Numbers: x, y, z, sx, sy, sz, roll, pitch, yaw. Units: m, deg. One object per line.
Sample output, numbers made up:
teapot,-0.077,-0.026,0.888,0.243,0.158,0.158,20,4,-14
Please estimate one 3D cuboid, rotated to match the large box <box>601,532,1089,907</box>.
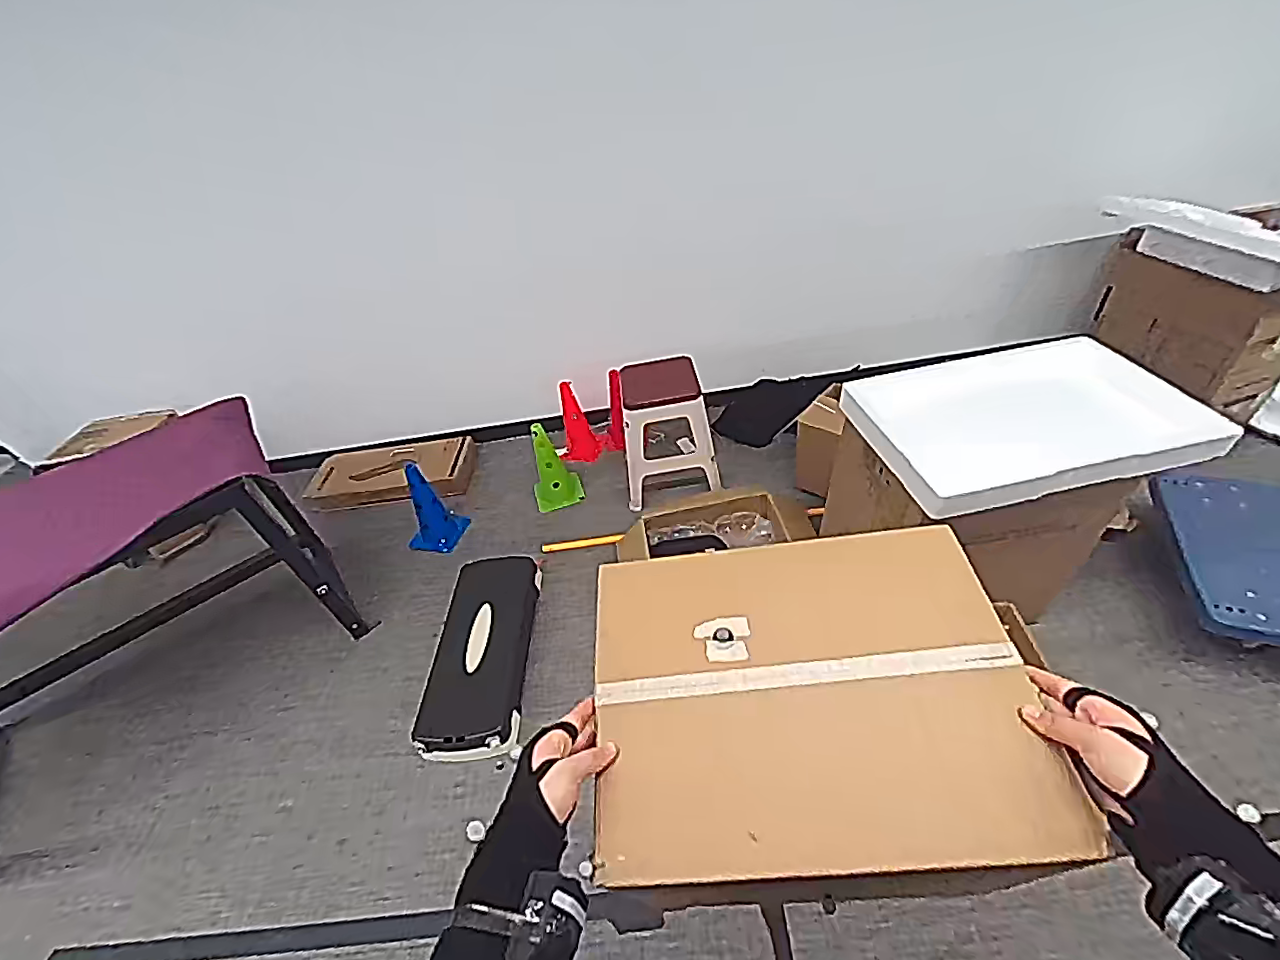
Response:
large box,0.182,0.299,0.651,0.408,0.320,0.320,-8,47,6
